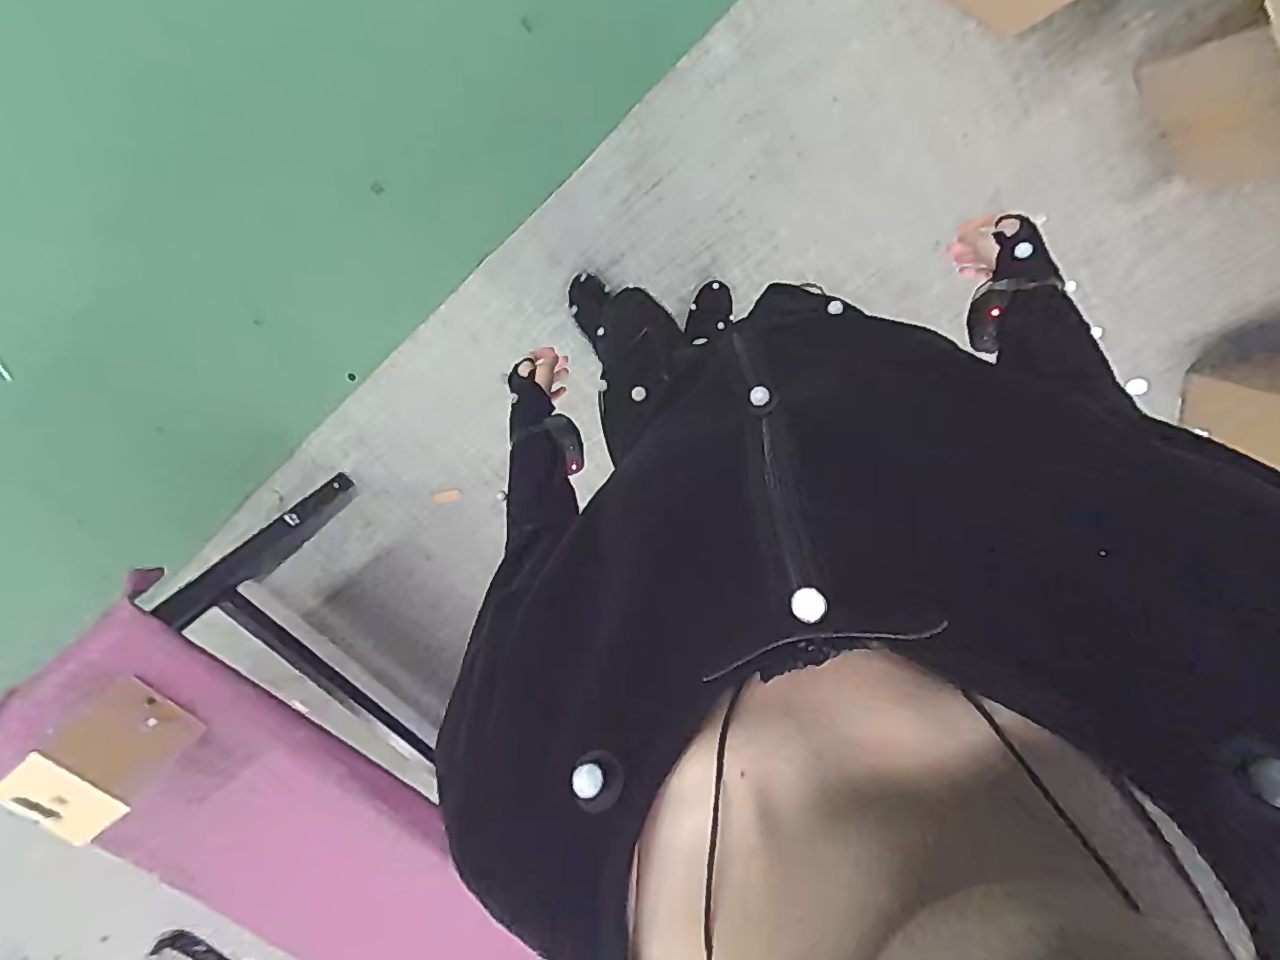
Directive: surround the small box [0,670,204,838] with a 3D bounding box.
[{"bbox_3d":[-0.931,0.475,0.950,0.179,0.176,0.168,-36,109,17],"label":"small box"}]
